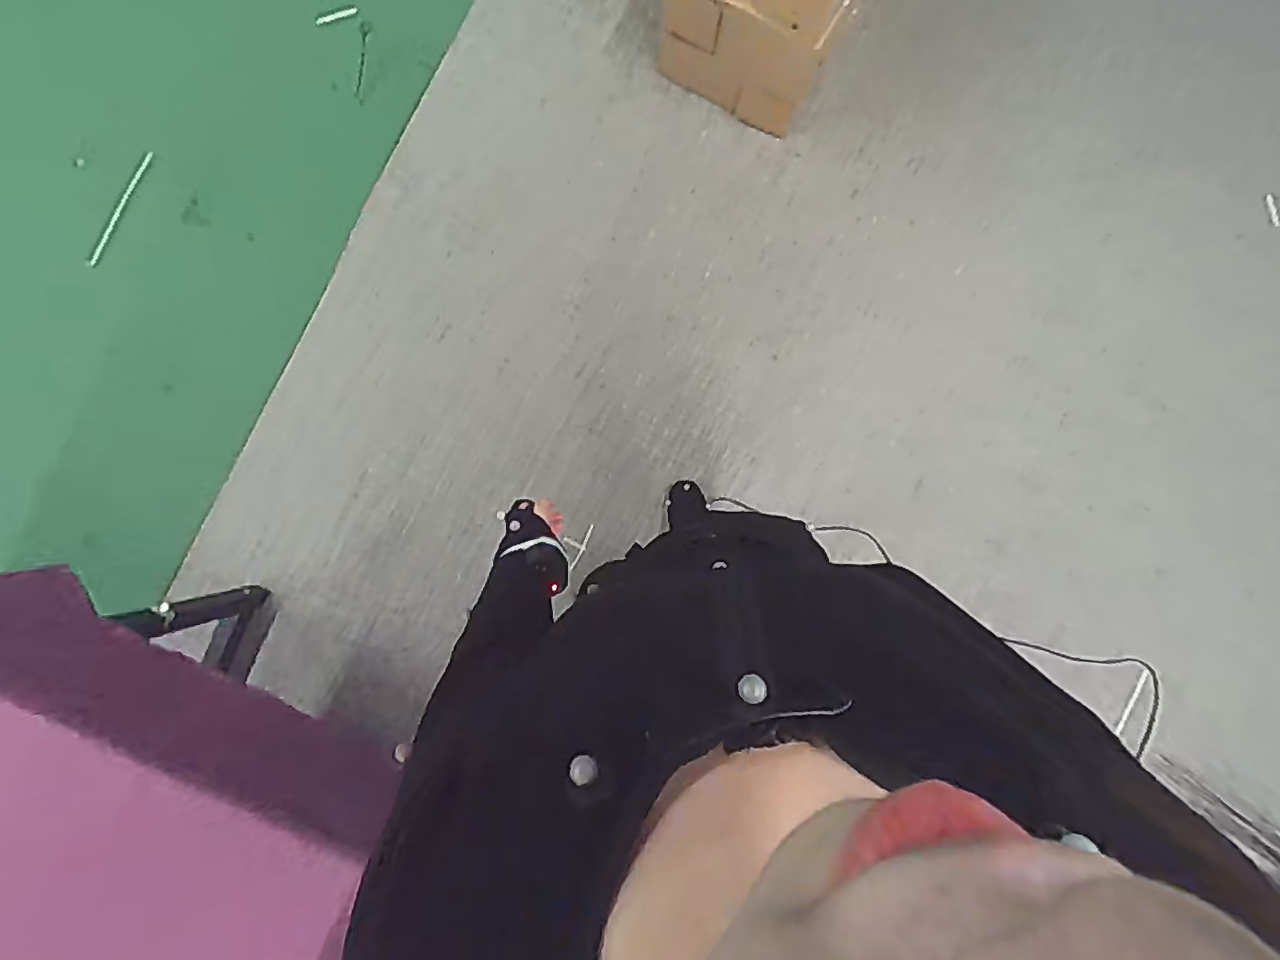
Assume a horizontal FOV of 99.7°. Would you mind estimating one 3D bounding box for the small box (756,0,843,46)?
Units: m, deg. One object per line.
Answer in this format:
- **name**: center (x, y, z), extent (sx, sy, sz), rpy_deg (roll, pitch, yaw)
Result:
- **small box**: center (0.367, -1.099, 1.154), extent (0.168, 0.176, 0.179), rpy_deg (31, 86, 2)
